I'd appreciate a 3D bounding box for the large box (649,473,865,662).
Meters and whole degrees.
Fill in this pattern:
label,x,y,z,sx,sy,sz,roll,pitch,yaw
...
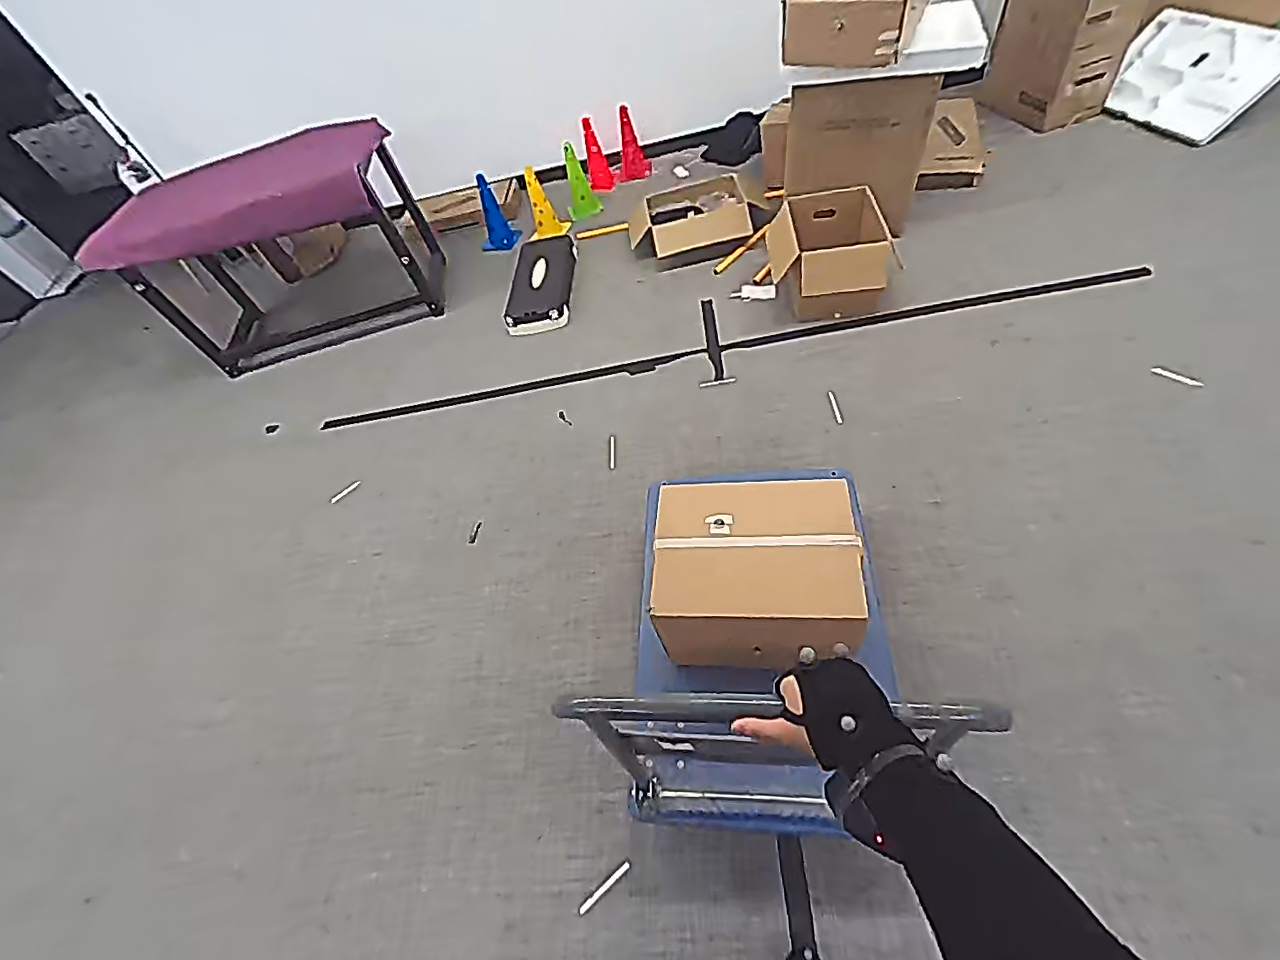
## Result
label,x,y,z,sx,sy,sz,roll,pitch,yaw
large box,0.255,0.209,1.209,0.408,0.320,0.320,-4,52,13
